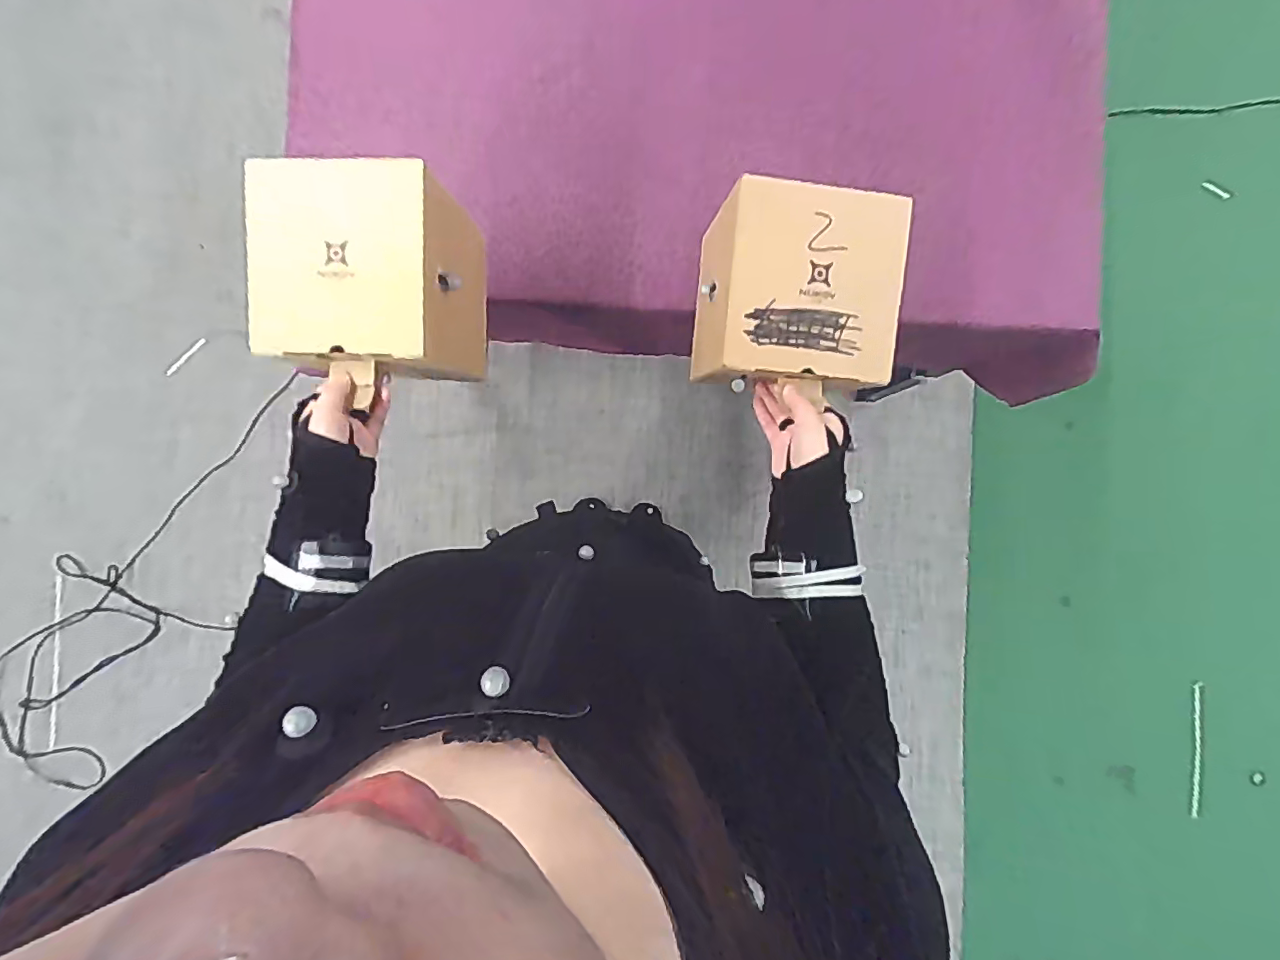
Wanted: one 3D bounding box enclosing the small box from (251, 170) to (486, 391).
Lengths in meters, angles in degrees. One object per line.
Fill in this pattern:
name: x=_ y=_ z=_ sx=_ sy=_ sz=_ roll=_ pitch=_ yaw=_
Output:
small box: x=-0.268 y=-0.194 z=0.570 sx=0.168 sy=0.176 sz=0.179 roll=2 pitch=93 yaw=1
